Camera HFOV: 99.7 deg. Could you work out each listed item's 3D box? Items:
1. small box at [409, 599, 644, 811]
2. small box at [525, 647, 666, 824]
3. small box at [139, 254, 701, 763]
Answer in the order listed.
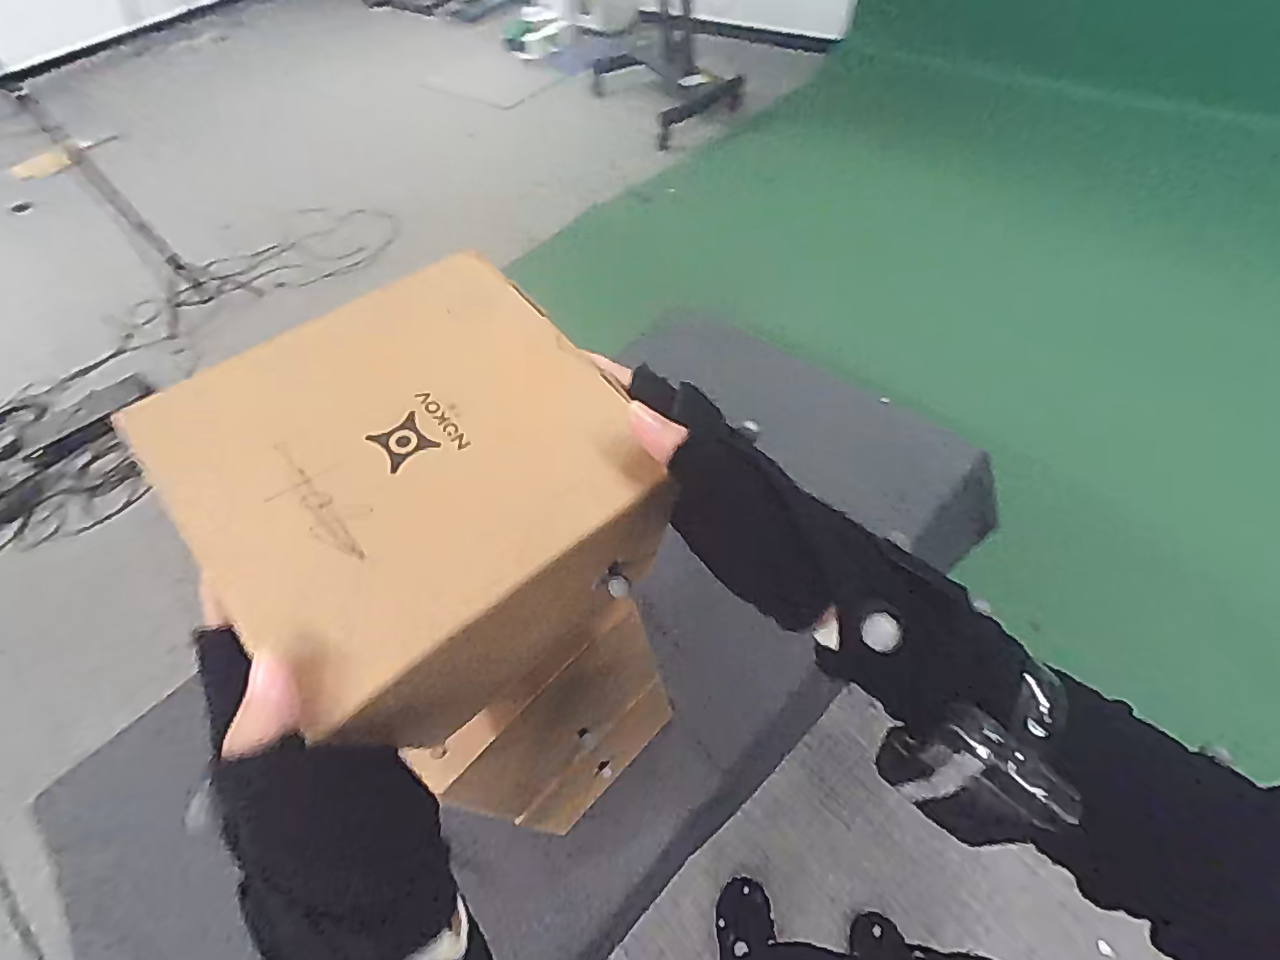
[{"bbox_3d":[-0.110,0.150,0.471,0.179,0.176,0.168,-41,59,-19],"label":"small box"},{"bbox_3d":[-0.084,0.245,0.602,0.168,0.176,0.179,34,65,28],"label":"small box"},{"bbox_3d":[-0.096,0.022,0.300,0.179,0.176,0.168,-38,73,-19],"label":"small box"}]
